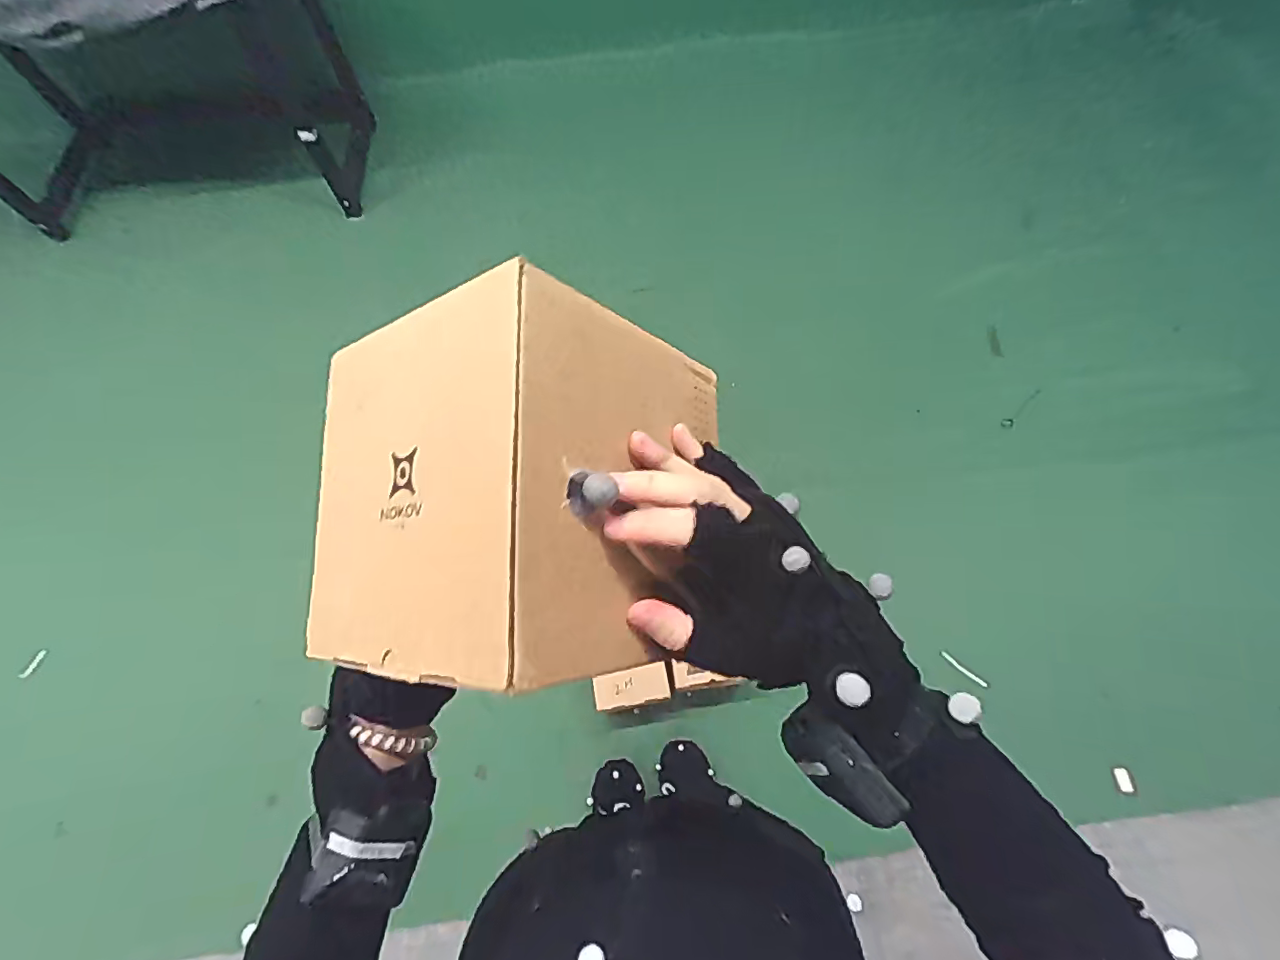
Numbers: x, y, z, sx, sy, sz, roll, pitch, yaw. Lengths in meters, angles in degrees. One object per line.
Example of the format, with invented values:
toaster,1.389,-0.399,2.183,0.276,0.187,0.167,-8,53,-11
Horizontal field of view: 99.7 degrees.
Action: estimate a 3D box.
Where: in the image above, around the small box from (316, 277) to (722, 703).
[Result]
small box,-0.063,0.015,0.324,0.168,0.176,0.179,-8,80,36
